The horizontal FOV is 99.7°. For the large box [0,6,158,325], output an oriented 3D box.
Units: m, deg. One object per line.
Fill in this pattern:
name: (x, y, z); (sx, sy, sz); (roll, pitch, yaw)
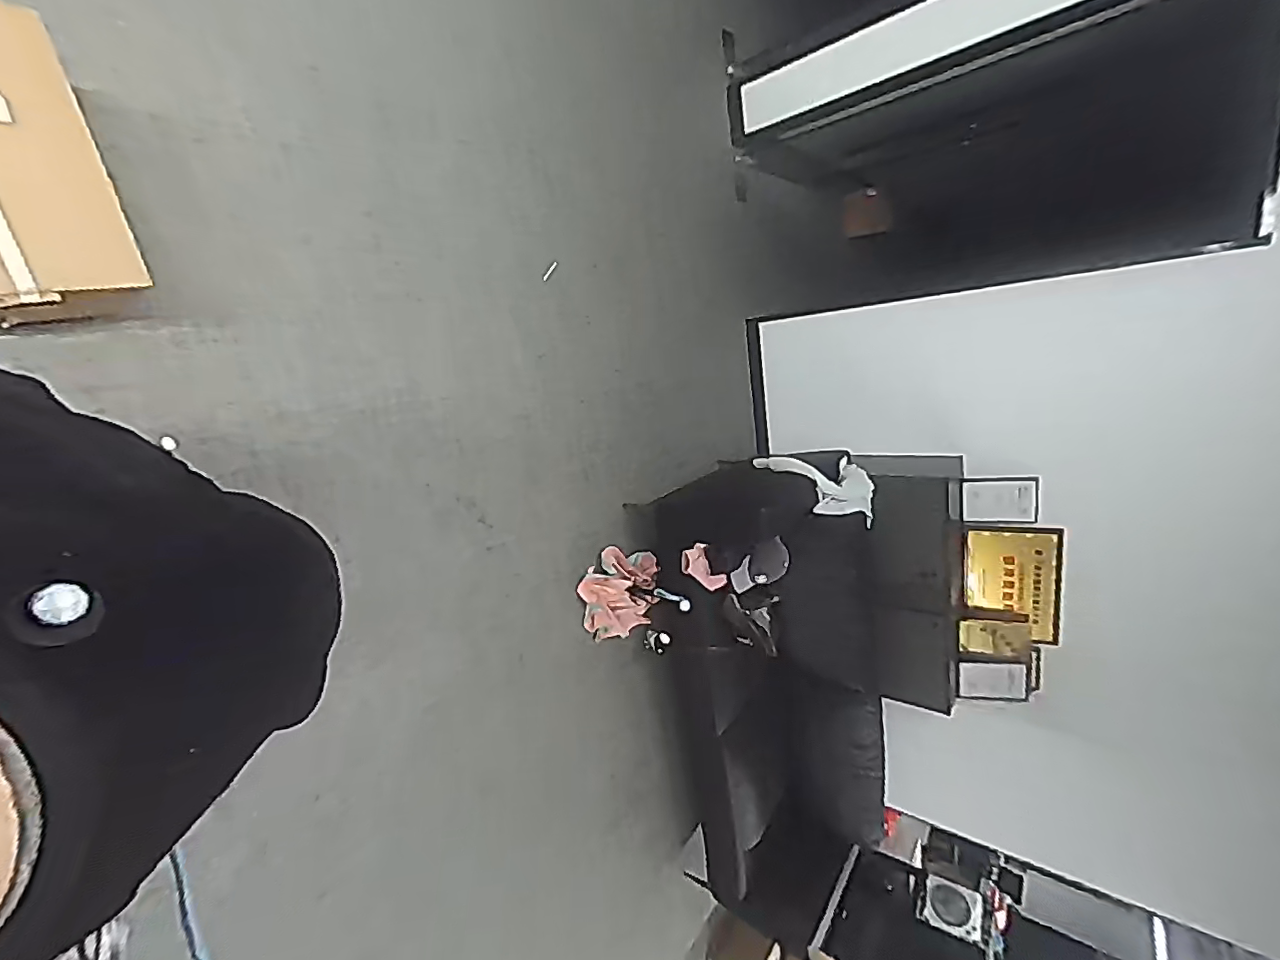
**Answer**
large box: (-1.081, -0.480, 0.874); (0.320, 0.320, 0.408); (-29, 113, -46)
